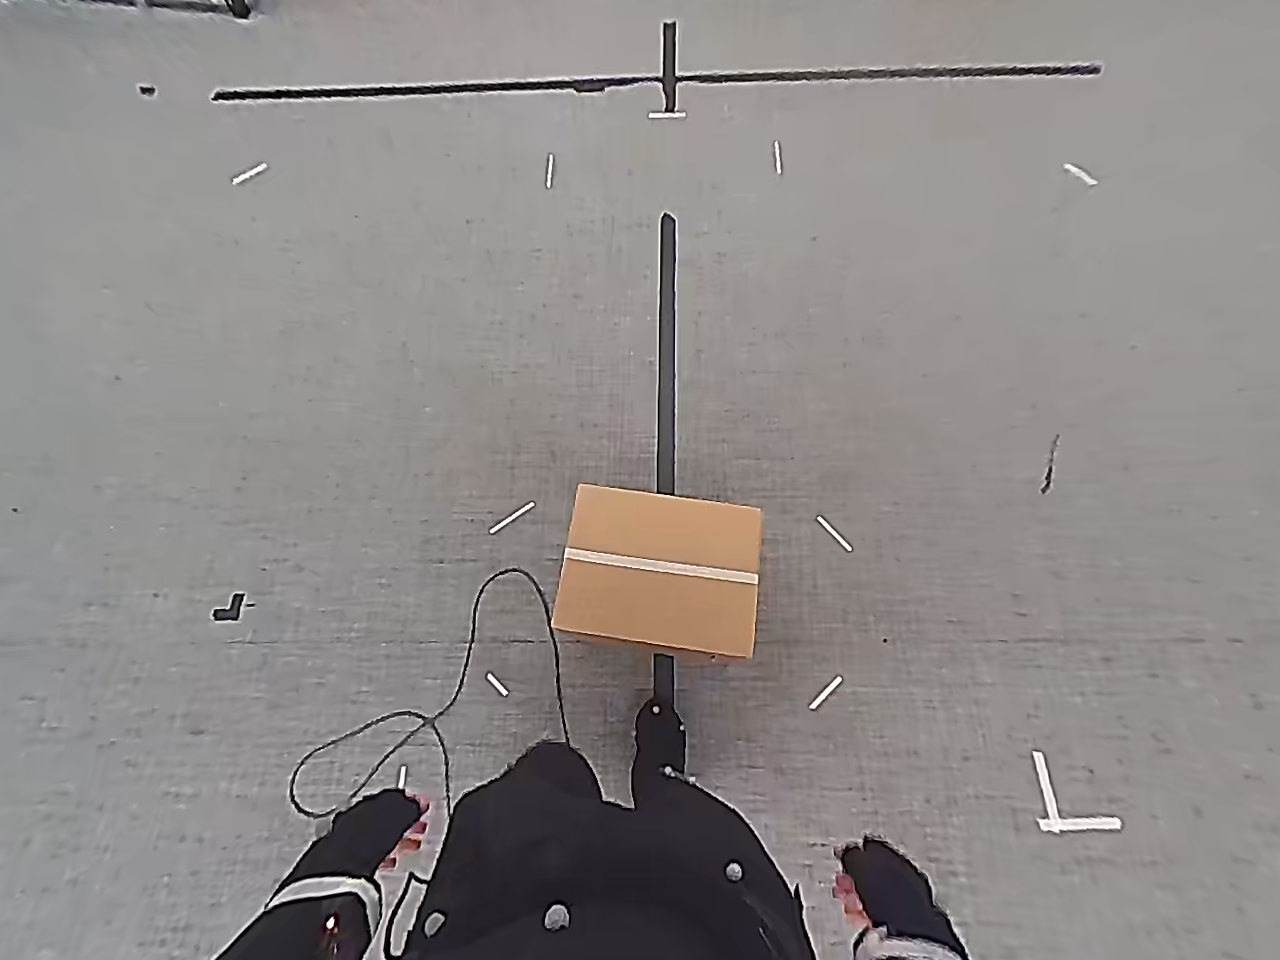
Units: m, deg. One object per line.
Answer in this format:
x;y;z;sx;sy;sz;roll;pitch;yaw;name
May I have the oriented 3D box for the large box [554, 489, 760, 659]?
0.046;0.233;1.254;0.408;0.320;0.320;8;70;3;large box
